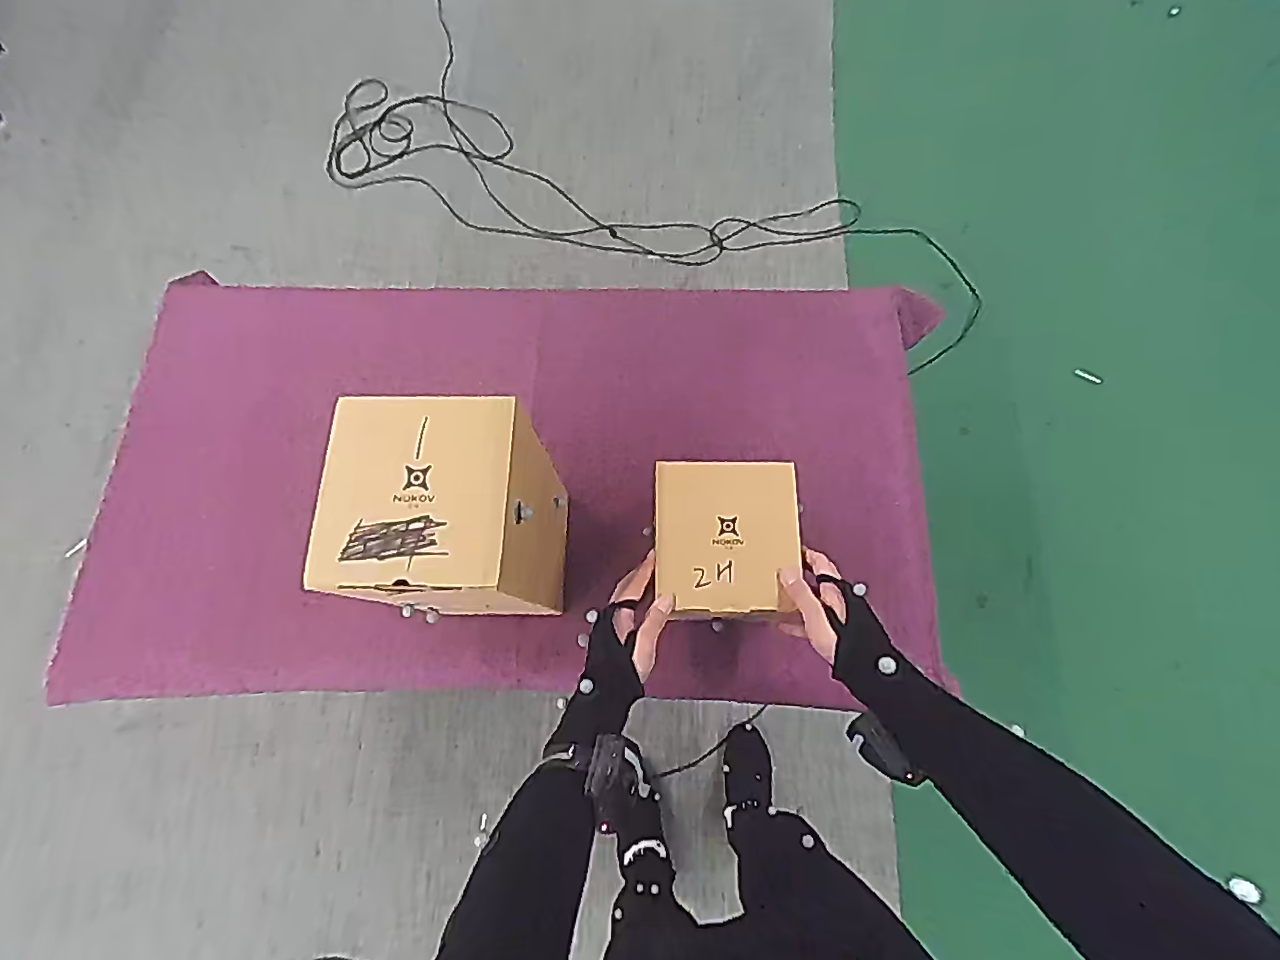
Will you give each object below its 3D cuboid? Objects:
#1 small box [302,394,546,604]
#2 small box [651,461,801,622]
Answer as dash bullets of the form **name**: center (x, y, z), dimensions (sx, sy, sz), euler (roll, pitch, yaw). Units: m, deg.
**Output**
- **small box**: center (-0.194, 0.029, 0.543), dimensions (0.168, 0.176, 0.179), euler (1, 72, 1)
- **small box**: center (0.098, 0.085, 0.692), dimensions (0.168, 0.176, 0.179), euler (1, 73, 2)
